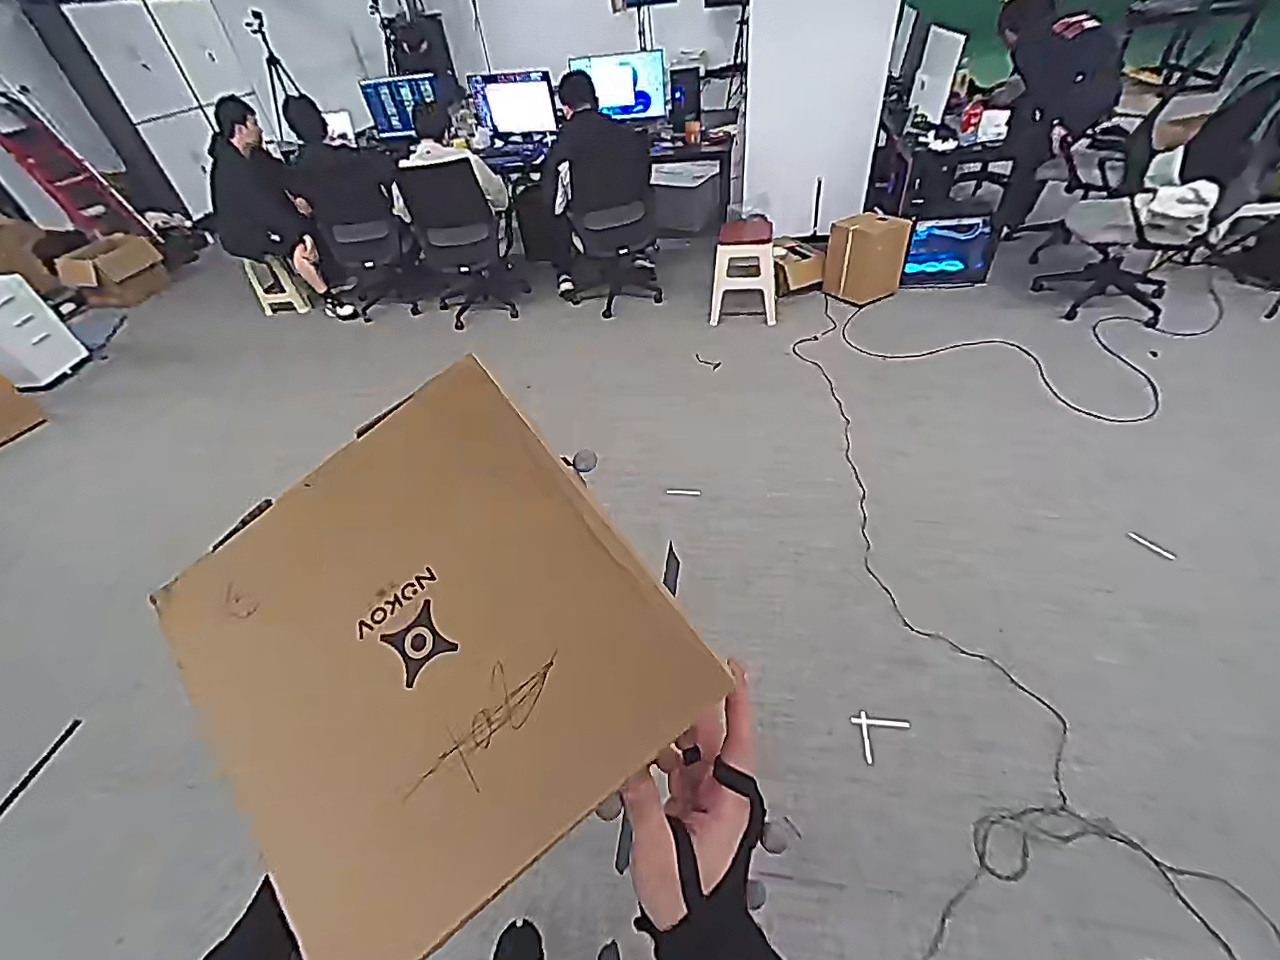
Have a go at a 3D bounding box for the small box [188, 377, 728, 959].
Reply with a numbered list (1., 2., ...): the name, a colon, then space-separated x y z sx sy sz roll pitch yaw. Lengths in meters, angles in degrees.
1. small box: -0.072 0.086 0.291 0.168 0.176 0.179 -39 72 -4
